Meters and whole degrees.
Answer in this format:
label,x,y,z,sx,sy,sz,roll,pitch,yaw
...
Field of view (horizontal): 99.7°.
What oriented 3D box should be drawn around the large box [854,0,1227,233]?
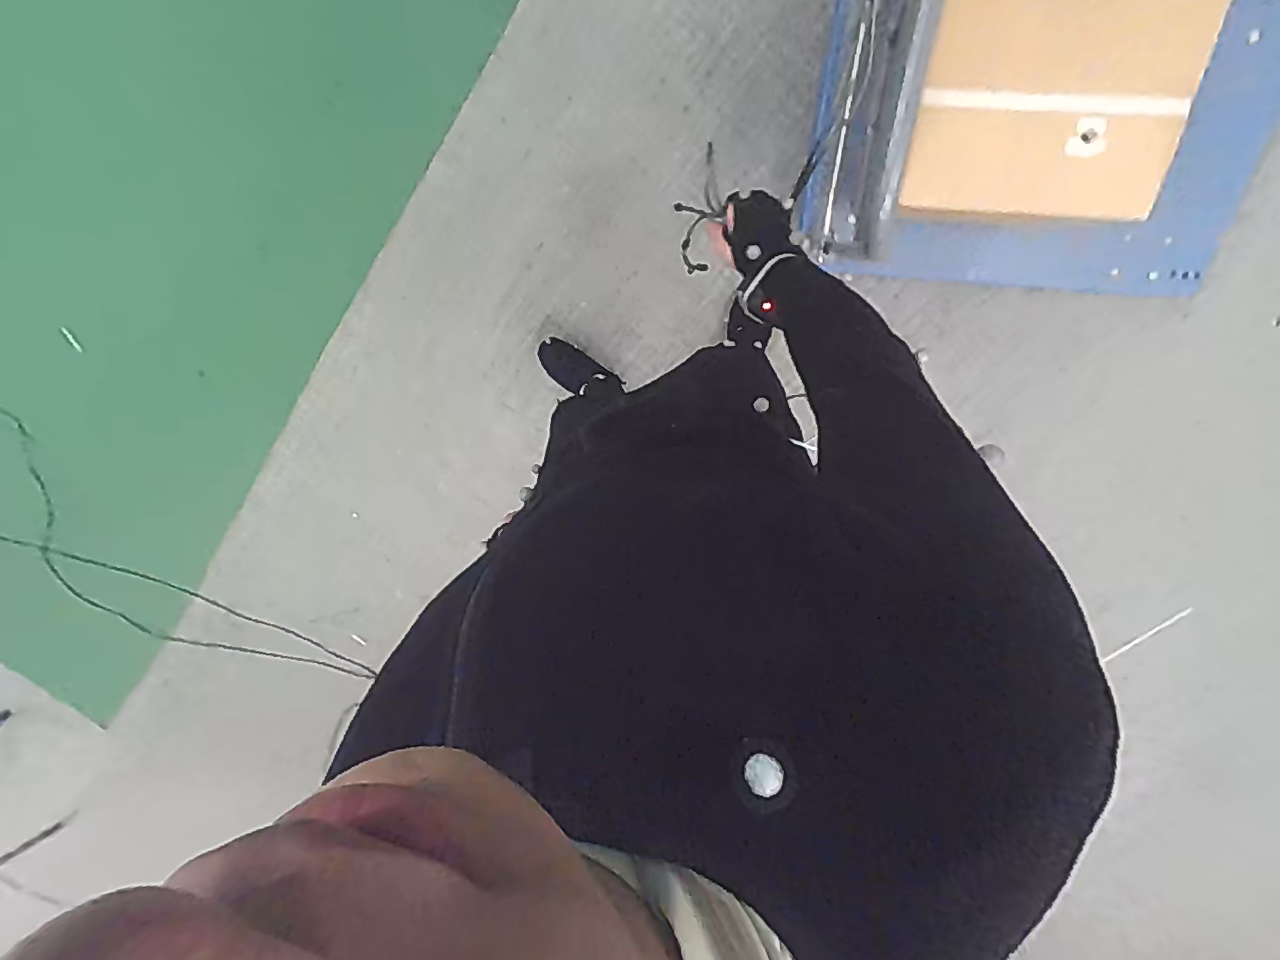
label,x,y,z,sx,sy,sz,roll,pitch,yaw
large box,0.656,-0.634,0.985,0.408,0.320,0.320,6,114,4
